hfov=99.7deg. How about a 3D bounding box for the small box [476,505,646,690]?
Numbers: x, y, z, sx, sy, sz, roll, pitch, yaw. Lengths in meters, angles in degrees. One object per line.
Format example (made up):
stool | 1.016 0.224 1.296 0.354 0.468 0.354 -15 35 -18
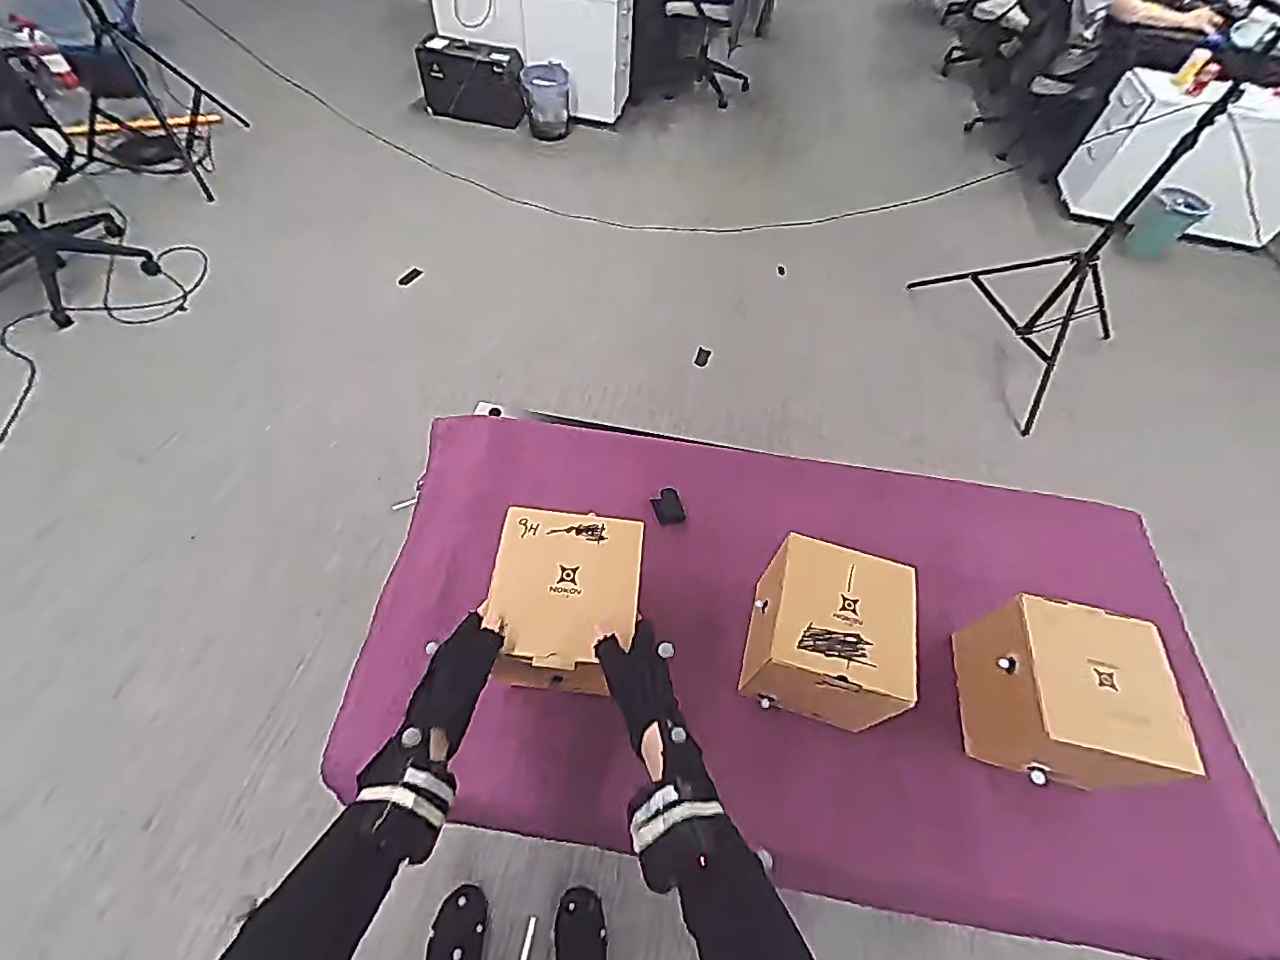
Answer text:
small box | -0.089 0.153 0.670 0.168 0.176 0.179 8 60 -2

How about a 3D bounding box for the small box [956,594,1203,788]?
small box | 0.536 0.275 0.697 0.168 0.176 0.179 12 56 4

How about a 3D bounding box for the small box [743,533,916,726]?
small box | 0.243 0.204 0.716 0.168 0.176 0.179 17 54 6
